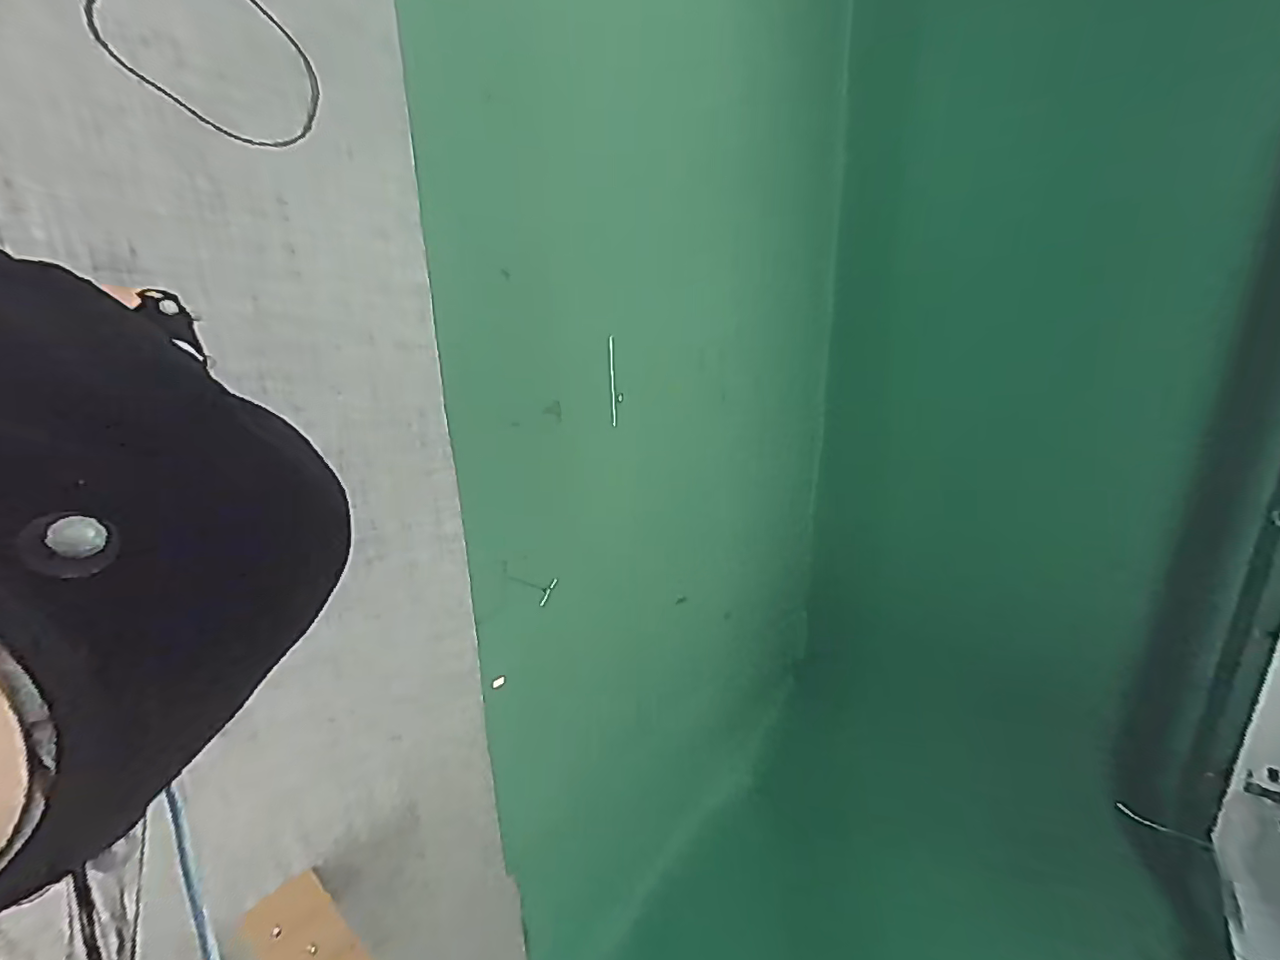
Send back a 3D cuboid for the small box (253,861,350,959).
[{"bbox_3d":[-0.950,1.232,1.512,0.179,0.176,0.168,-22,117,-48],"label":"small box"}]
